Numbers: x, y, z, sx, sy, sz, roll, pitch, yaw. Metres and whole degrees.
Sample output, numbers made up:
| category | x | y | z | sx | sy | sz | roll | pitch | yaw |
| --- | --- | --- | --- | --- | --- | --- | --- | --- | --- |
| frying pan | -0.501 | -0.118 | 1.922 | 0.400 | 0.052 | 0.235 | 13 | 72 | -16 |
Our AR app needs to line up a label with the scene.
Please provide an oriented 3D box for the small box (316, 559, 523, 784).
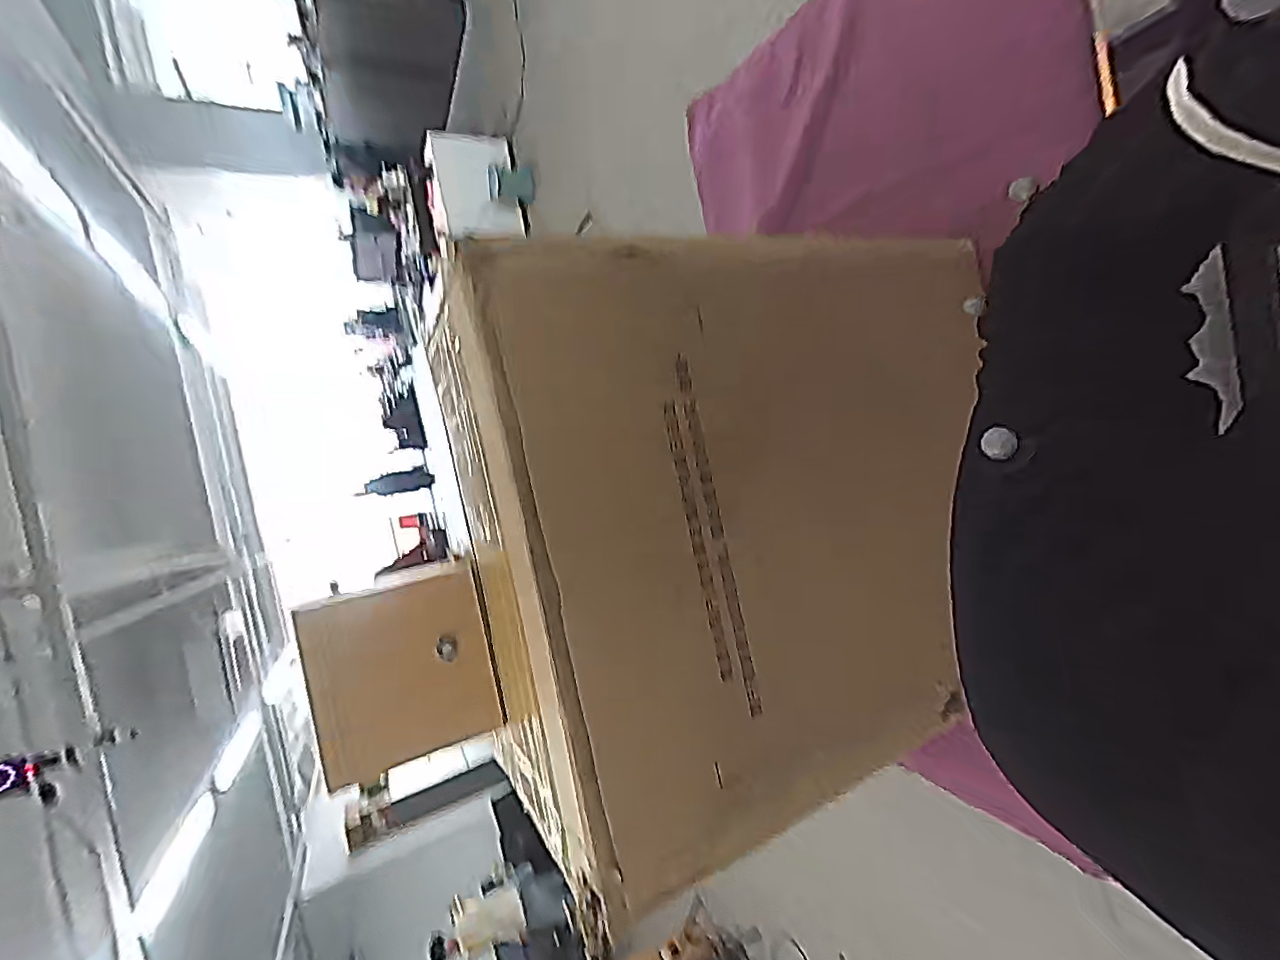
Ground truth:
| category | x | y | z | sx | sy | sz | roll | pitch | yaw |
| --- | --- | --- | --- | --- | --- | --- | --- | --- | --- |
| small box | -0.247 | 0.194 | 0.602 | 0.168 | 0.176 | 0.179 | -16 | 86 | 64 |
